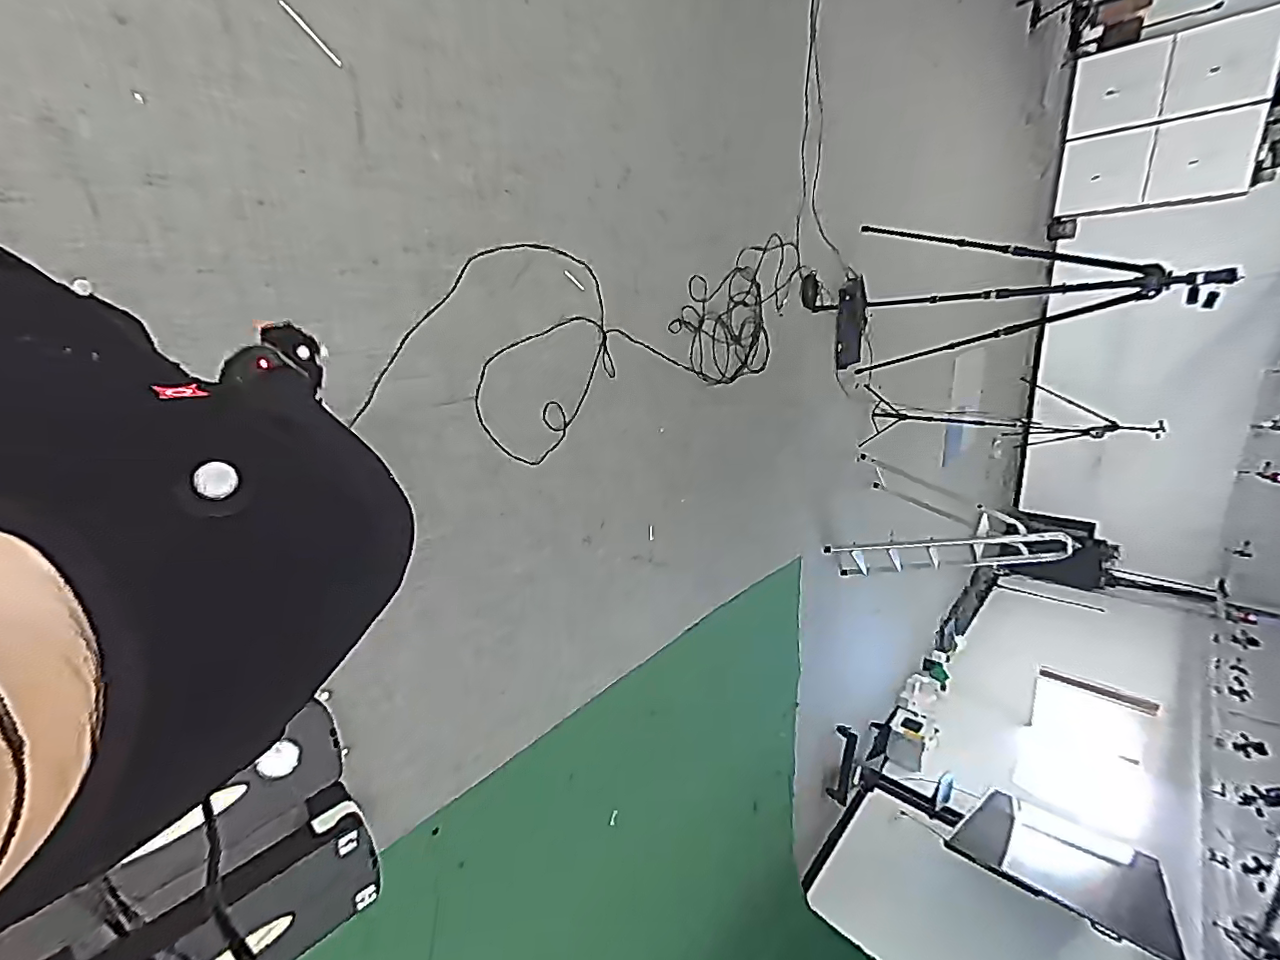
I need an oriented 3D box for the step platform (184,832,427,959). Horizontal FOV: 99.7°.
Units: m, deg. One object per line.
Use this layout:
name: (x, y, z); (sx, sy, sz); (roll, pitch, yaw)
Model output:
step platform: (-0.846, 1.139, 1.188); (0.684, 0.204, 0.286); (-22, 115, -44)
